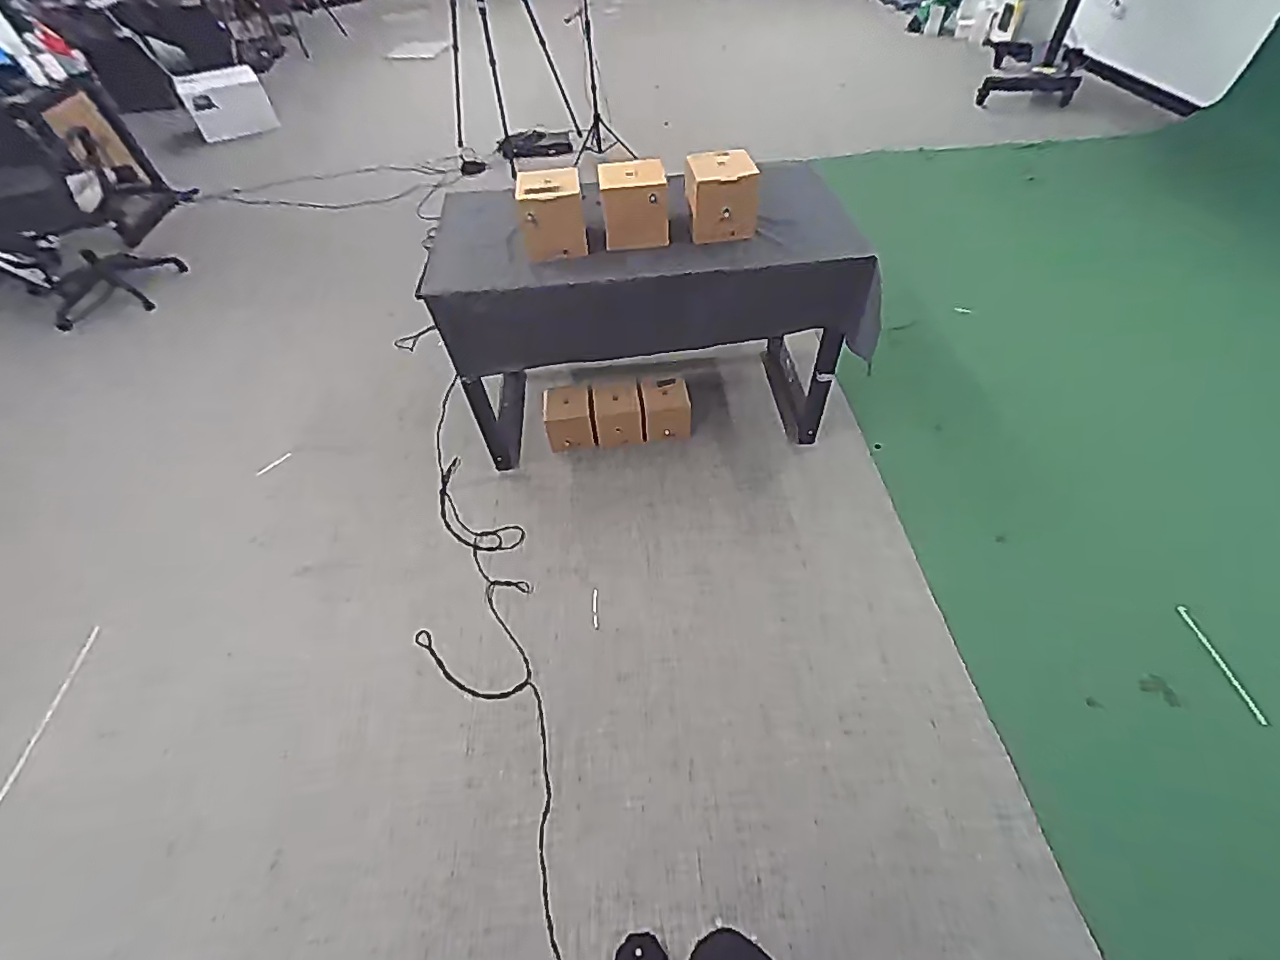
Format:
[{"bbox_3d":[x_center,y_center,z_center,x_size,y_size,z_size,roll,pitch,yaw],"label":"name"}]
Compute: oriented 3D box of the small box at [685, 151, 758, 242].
[{"bbox_3d":[0.218,-0.773,1.488,0.168,0.176,0.179,-6,51,-2],"label":"small box"}]
